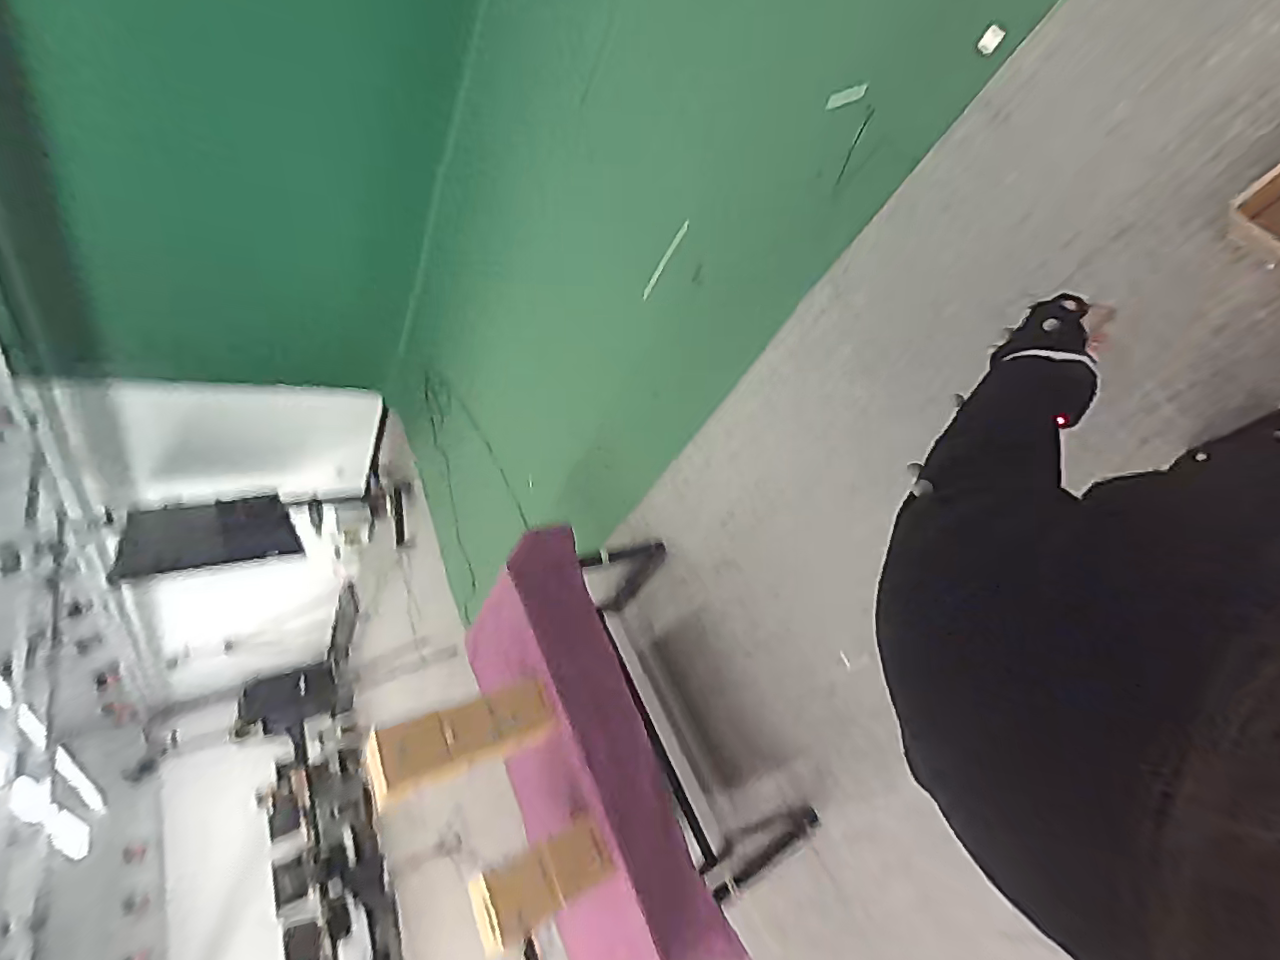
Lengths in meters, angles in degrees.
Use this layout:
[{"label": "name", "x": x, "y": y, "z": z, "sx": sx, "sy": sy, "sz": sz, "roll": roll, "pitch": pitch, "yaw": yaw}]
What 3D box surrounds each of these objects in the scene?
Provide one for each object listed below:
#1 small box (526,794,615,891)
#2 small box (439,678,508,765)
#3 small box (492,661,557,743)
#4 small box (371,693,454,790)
[{"label": "small box", "x": -0.199, "y": 1.036, "z": 1.549, "sx": 0.179, "sy": 0.176, "sz": 0.168, "roll": -53, "pitch": 56, "yaw": 40}, {"label": "small box", "x": -0.517, "y": 0.726, "z": 1.637, "sx": 0.168, "sy": 0.176, "sz": 0.179, "roll": 60, "pitch": 136, "yaw": 27}, {"label": "small box", "x": -0.389, "y": 0.712, "z": 1.738, "sx": 0.168, "sy": 0.176, "sz": 0.179, "roll": 59, "pitch": 136, "yaw": 26}, {"label": "small box", "x": -0.644, "y": 0.736, "z": 1.531, "sx": 0.168, "sy": 0.176, "sz": 0.179, "roll": -53, "pitch": 55, "yaw": 39}]
